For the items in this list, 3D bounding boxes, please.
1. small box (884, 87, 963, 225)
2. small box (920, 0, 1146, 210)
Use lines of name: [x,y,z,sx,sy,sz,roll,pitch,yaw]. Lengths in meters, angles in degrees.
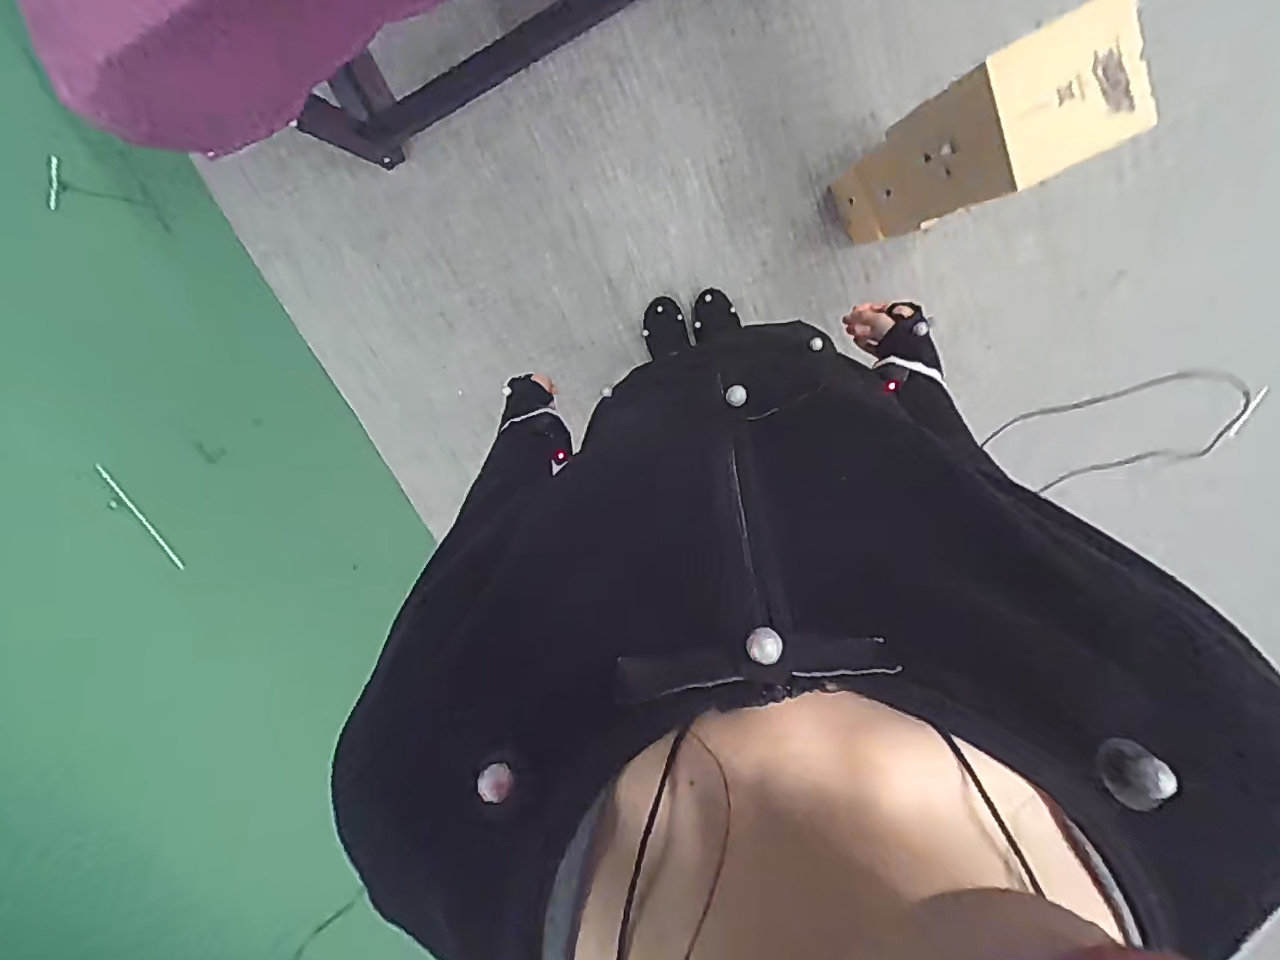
small box: [0.536,-0.554,0.905,0.168,0.176,0.179,-22,106,9]
small box: [0.529,-0.504,0.749,0.179,0.176,0.168,-24,106,10]
